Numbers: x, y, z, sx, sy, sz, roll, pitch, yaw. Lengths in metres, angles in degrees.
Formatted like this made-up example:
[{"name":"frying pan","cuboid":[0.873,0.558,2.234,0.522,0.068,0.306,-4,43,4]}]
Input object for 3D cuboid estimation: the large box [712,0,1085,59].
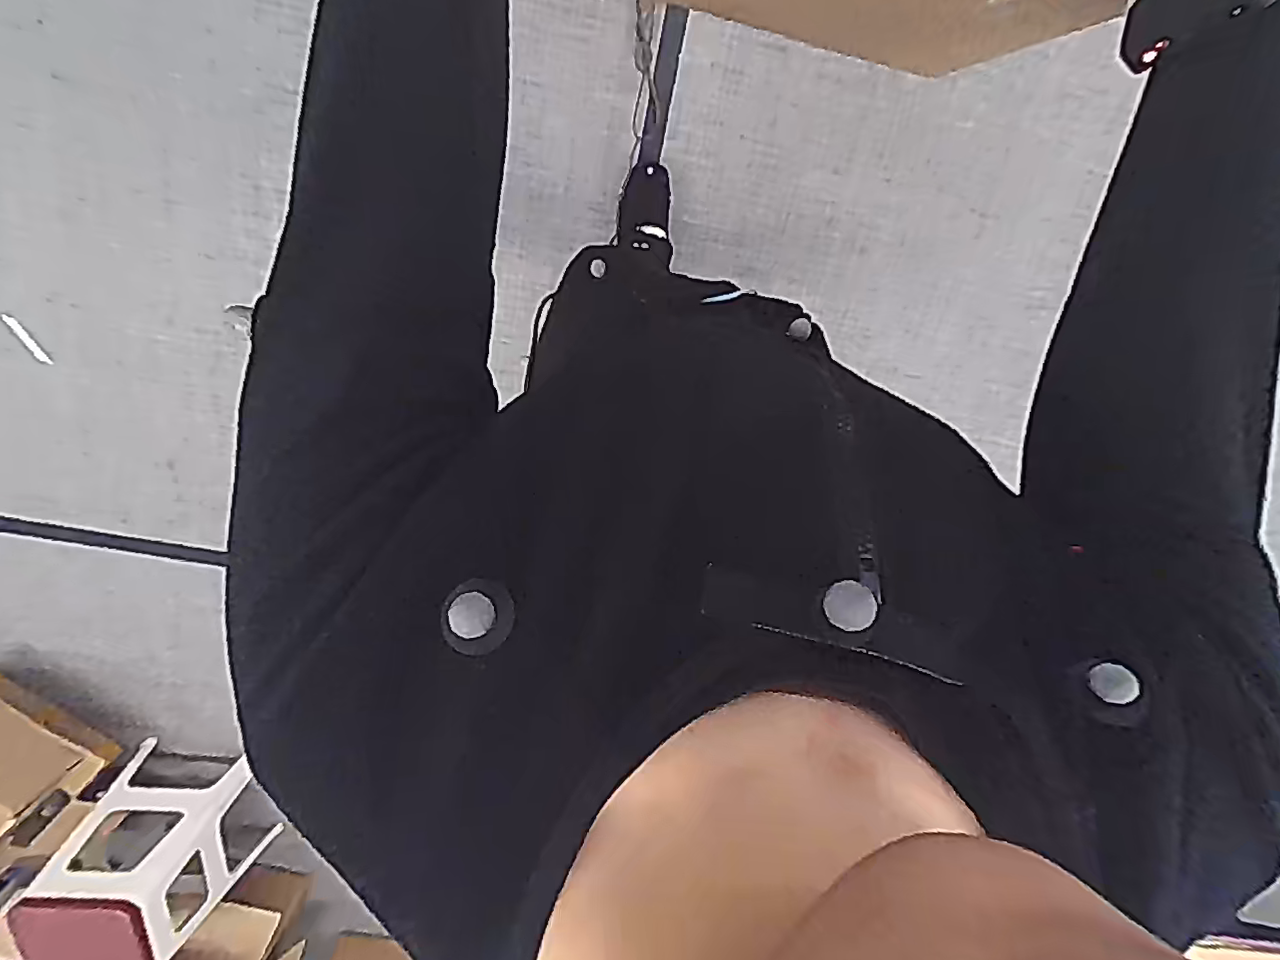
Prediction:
[{"name":"large box","cuboid":[0.170,-0.563,0.391,0.408,0.320,0.320,11,121,-6]}]
